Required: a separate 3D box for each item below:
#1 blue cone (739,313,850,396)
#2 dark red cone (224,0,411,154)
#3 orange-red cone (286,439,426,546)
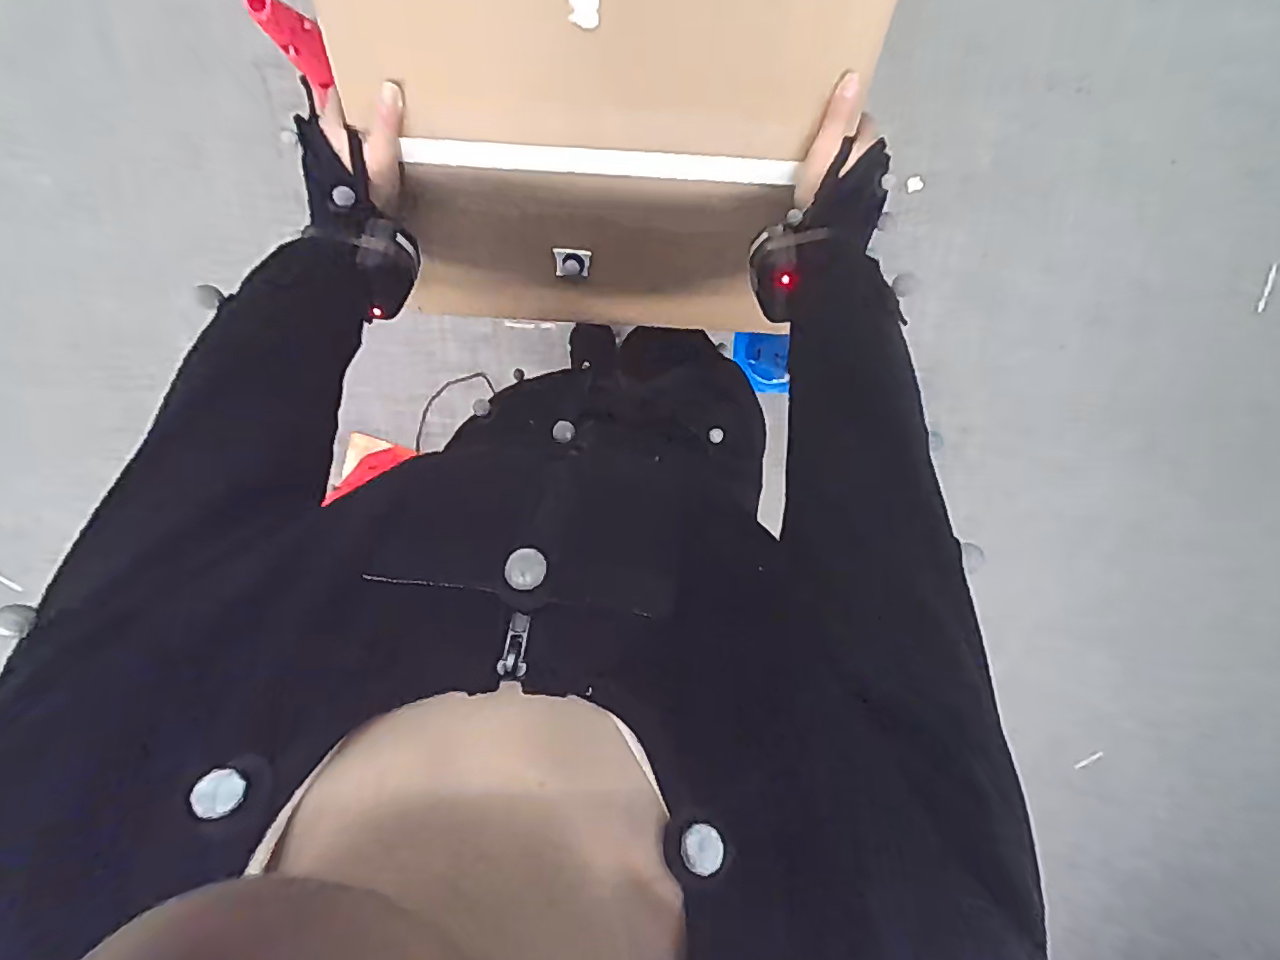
[{"bbox_3d":[0.334,-0.247,1.115,0.192,0.380,0.193,1,107,-2],"label":"blue cone"},{"bbox_3d":[-0.565,-0.730,0.918,0.202,0.394,0.201,-6,104,1],"label":"dark red cone"},{"bbox_3d":[-0.646,0.061,1.176,0.199,0.360,0.198,21,104,-6],"label":"orange-red cone"}]
